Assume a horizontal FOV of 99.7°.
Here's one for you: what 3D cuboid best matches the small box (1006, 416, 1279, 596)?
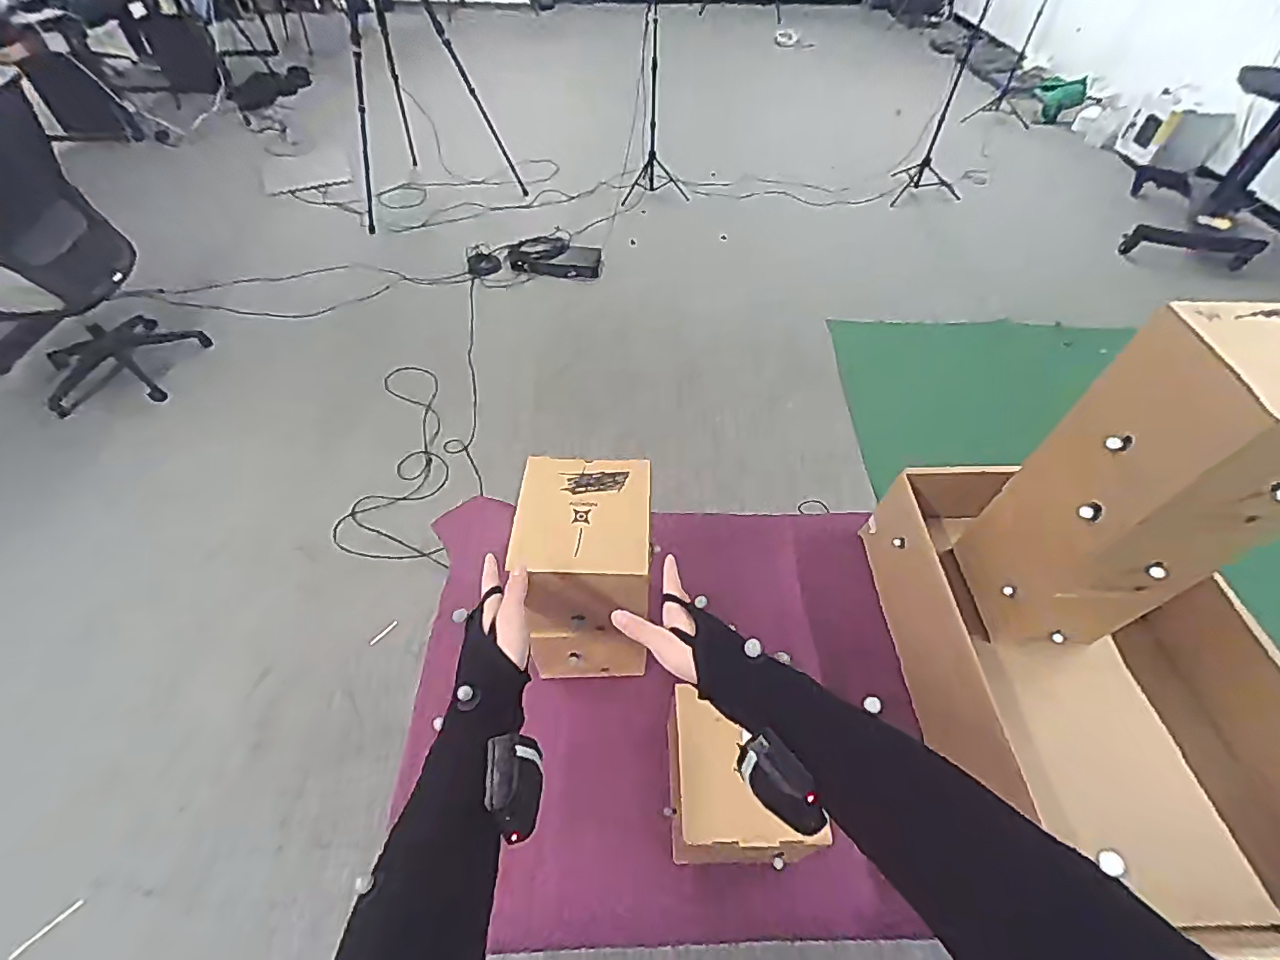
[{"bbox_3d":[0.626,0.037,0.702,0.168,0.176,0.179,1,51,1],"label":"small box"}]

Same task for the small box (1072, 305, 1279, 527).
[{"bbox_3d":[0.622,-0.063,0.573,0.168,0.176,0.179,1,52,1],"label":"small box"}]

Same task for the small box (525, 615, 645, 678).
[{"bbox_3d":[-0.077,0.200,0.846,0.168,0.176,0.179,-2,49,-2],"label":"small box"}]

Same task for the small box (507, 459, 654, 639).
[{"bbox_3d":[-0.068,0.093,0.722,0.168,0.176,0.179,2,51,1],"label":"small box"}]
